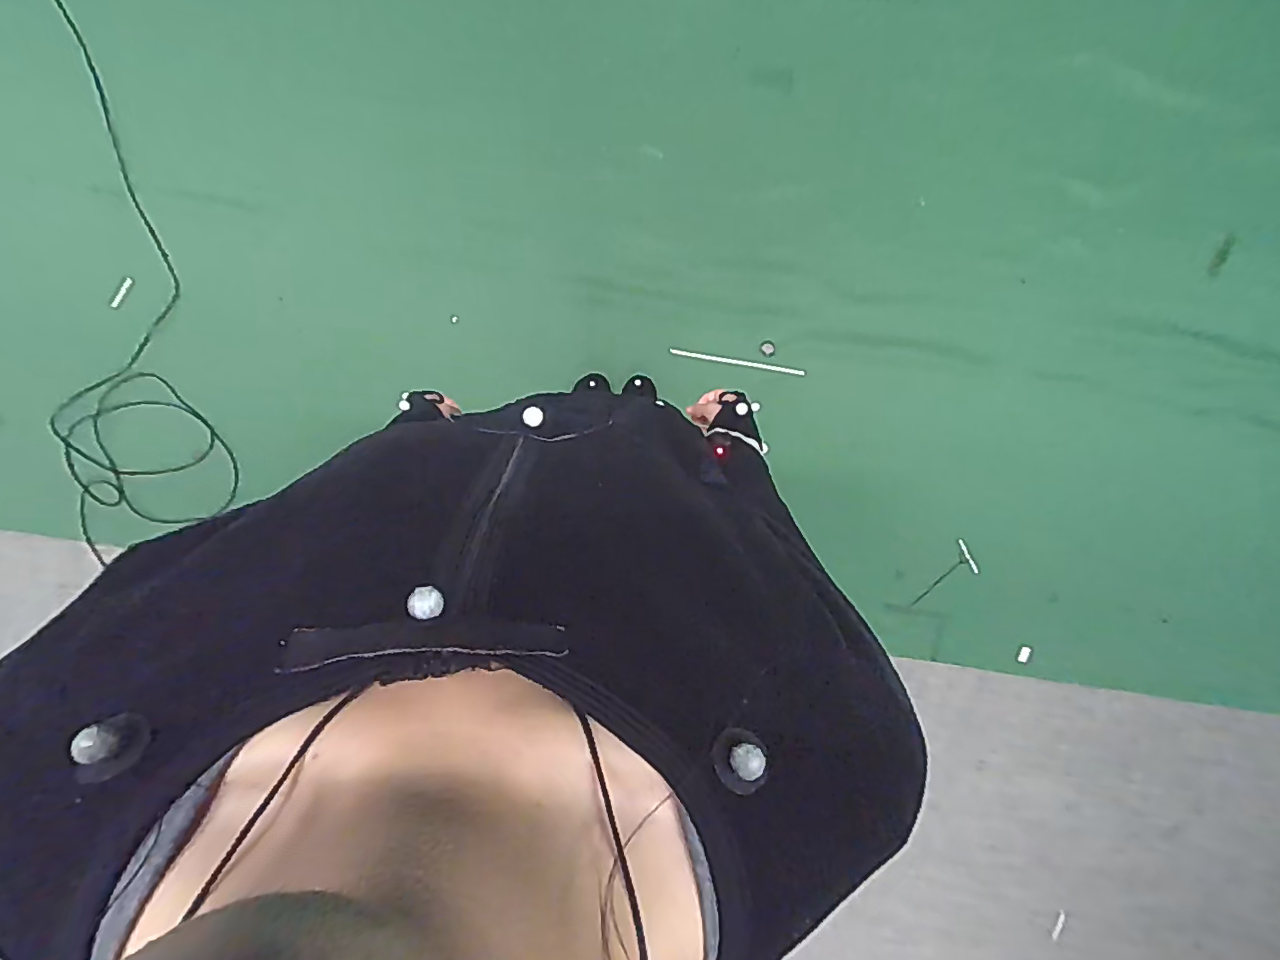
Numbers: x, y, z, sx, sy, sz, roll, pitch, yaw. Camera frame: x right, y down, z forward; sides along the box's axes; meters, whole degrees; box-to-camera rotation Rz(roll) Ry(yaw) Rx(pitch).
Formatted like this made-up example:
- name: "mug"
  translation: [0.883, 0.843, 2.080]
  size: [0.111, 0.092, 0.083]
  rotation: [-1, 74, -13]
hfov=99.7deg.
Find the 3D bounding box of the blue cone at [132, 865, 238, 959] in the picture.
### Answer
- name: "blue cone"
  translation: [-1.371, 1.343, 1.532]
  size: [0.193, 0.380, 0.192]
  rotation: [-34, 102, 6]
